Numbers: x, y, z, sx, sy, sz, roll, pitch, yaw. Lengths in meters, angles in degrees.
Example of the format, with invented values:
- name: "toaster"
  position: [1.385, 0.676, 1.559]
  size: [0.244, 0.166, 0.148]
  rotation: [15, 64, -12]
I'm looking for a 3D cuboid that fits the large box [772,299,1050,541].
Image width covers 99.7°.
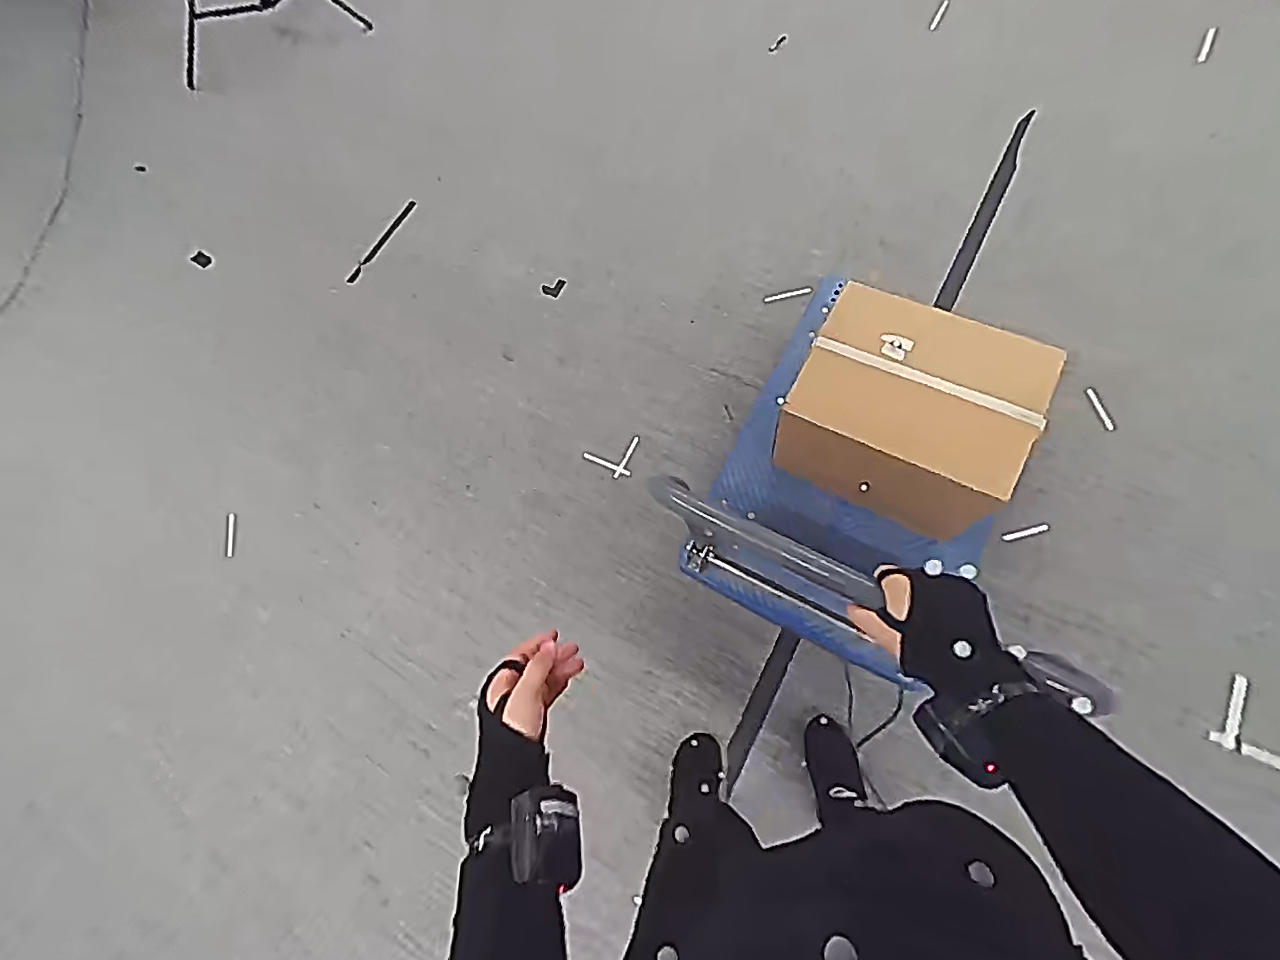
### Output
- name: "large box"
  position: [0.532, -0.115, 1.144]
  size: [0.408, 0.320, 0.320]
  rotation: [25, 76, 18]
